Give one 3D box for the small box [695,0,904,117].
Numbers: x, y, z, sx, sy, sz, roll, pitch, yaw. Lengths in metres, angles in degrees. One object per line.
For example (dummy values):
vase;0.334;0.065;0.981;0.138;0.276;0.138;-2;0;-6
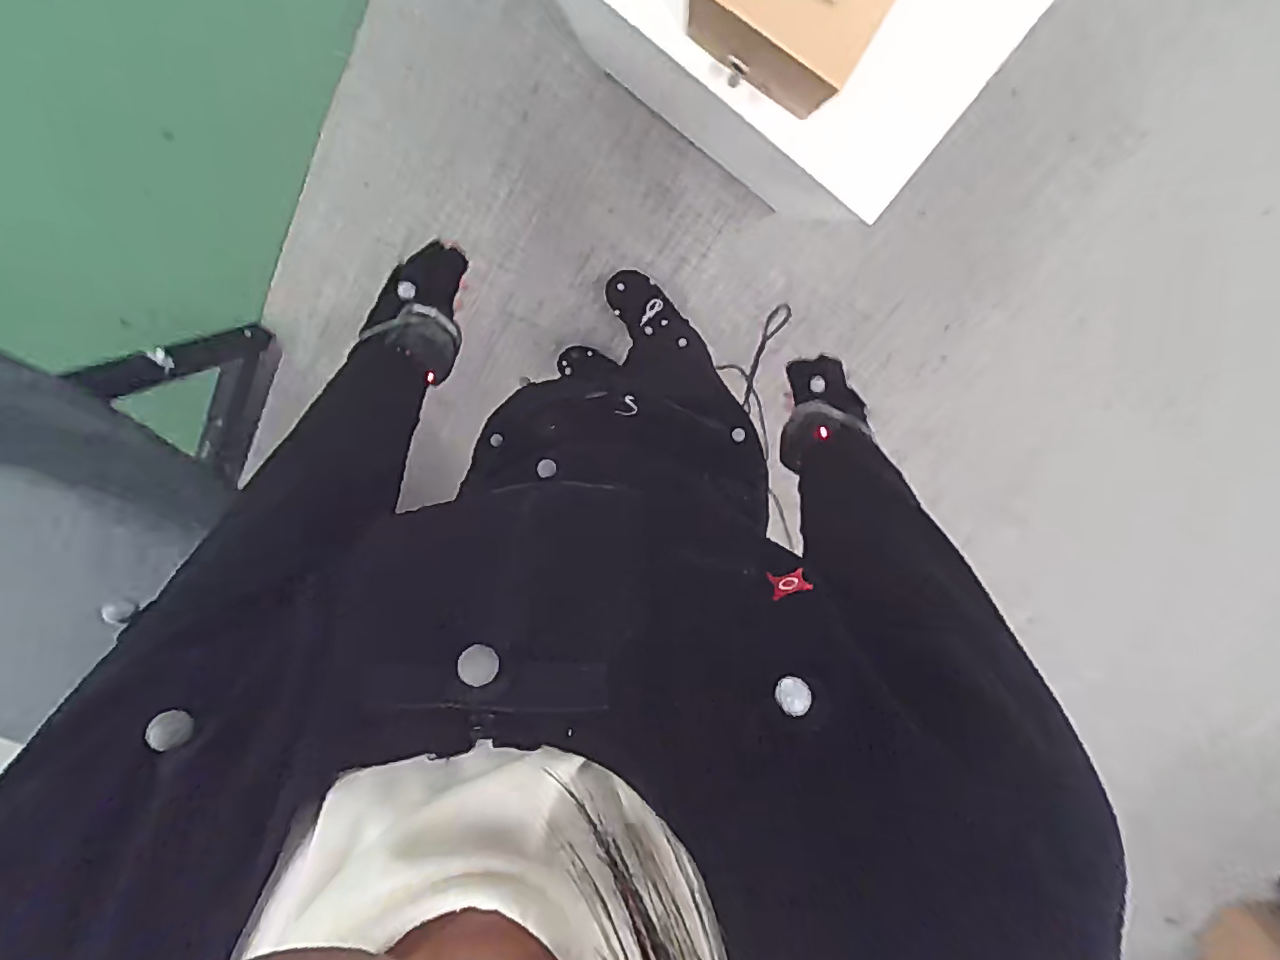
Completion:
small box;0.158;-0.477;0.497;0.168;0.176;0.179;29;116;-8
